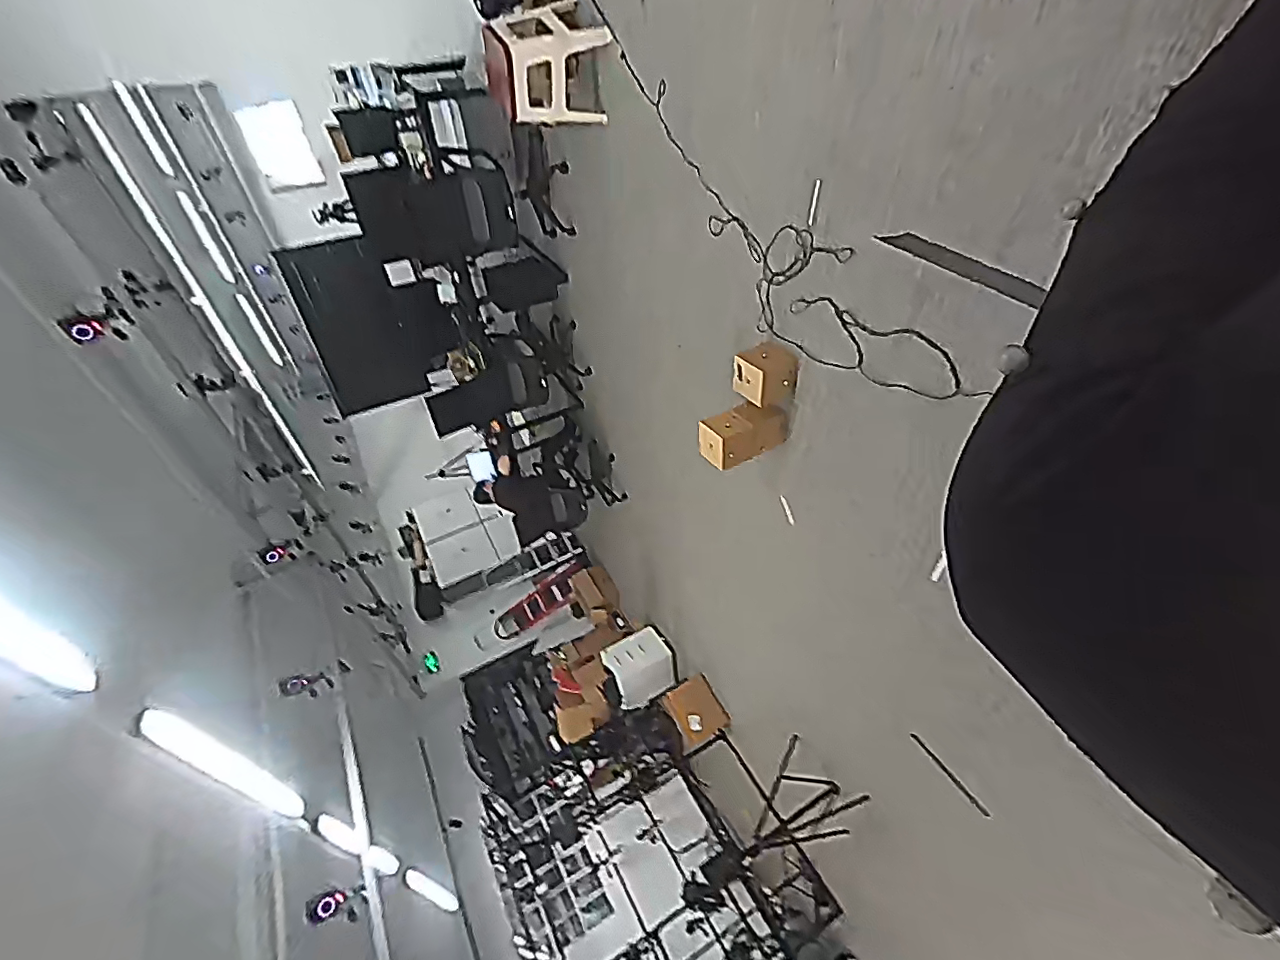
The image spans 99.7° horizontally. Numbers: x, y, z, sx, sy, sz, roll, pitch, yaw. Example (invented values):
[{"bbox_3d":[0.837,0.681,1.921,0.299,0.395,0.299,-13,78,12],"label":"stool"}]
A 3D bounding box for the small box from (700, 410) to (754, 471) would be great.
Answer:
[{"bbox_3d":[0.373,-0.176,2.302,0.168,0.176,0.179,47,153,45],"label":"small box"}]

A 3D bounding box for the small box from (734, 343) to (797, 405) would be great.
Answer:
[{"bbox_3d":[0.499,-0.431,2.169,0.179,0.176,0.168,48,154,42],"label":"small box"}]
